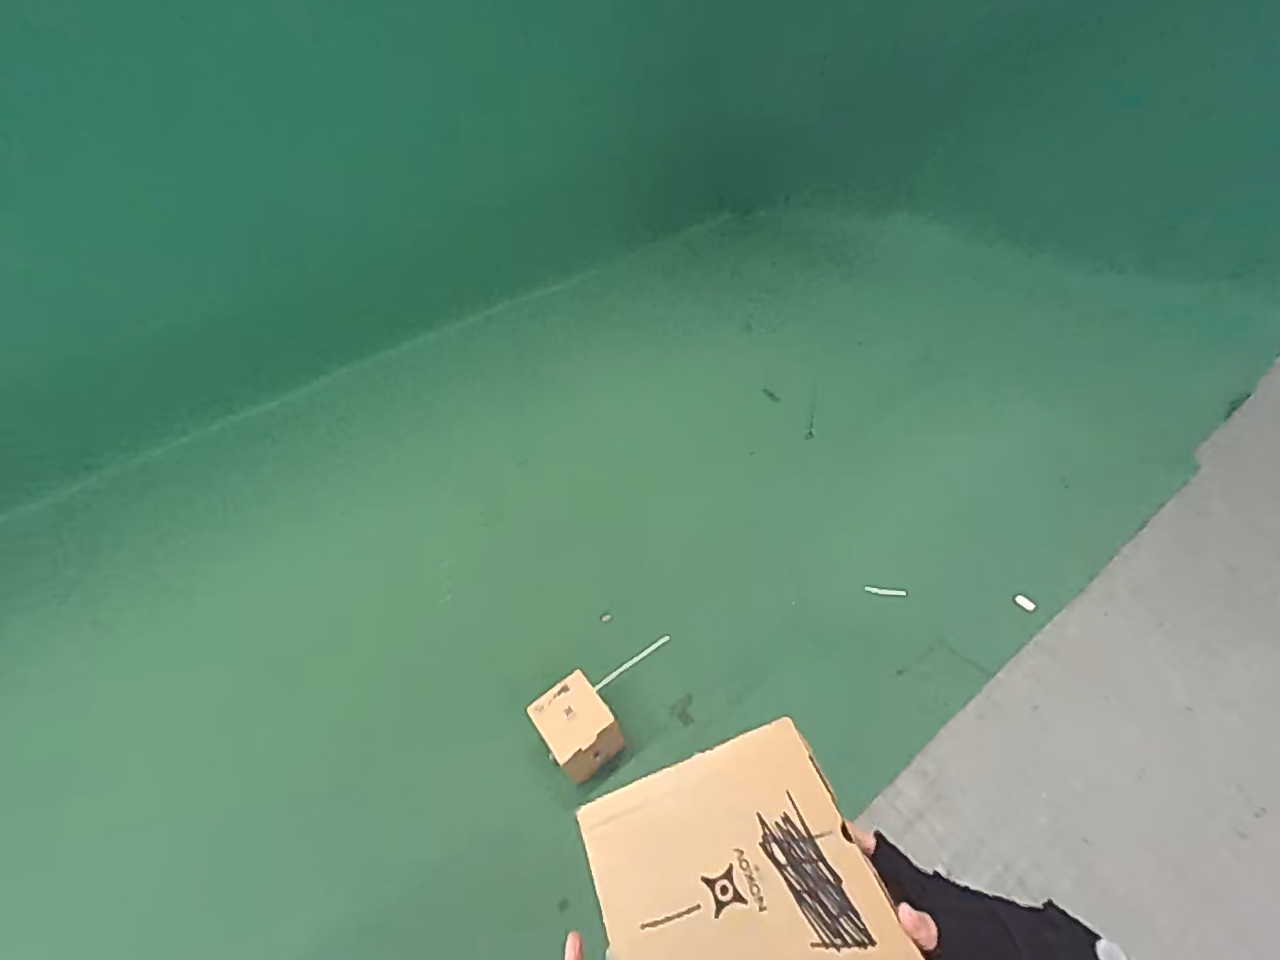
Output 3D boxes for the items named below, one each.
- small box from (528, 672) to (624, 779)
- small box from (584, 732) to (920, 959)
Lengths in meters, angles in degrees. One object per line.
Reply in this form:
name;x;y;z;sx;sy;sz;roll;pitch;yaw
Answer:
small box;-0.159;0.642;1.400;0.168;0.176;0.179;-32;49;-20
small box;0.072;0.324;0.404;0.179;0.176;0.168;-18;46;-9
